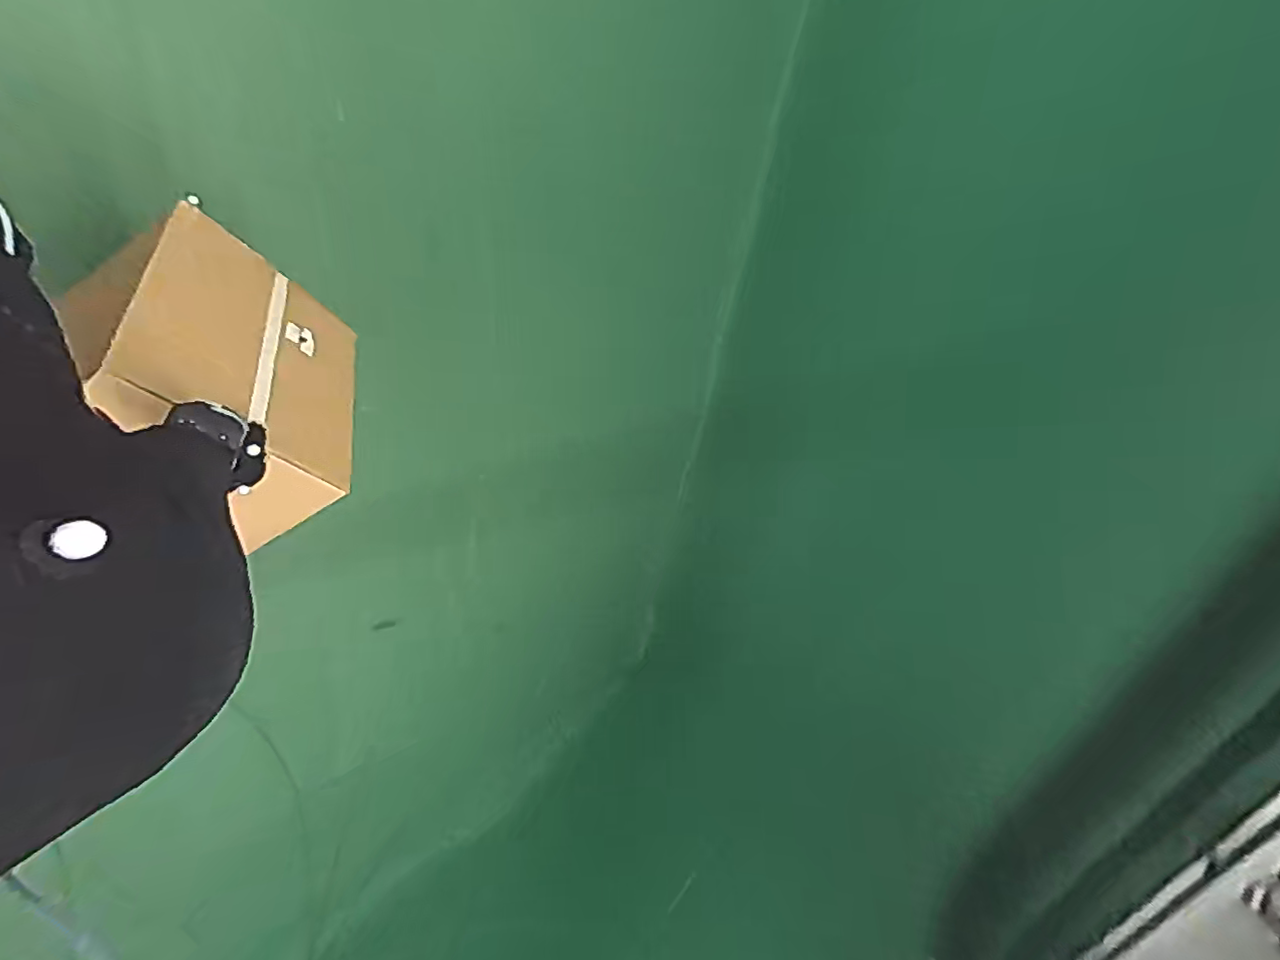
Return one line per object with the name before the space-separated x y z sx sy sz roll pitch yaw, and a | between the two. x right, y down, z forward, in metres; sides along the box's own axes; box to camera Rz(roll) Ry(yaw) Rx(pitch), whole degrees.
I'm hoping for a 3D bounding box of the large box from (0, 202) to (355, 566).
large box | -0.694 -0.135 0.859 0.320 0.408 0.320 -29 144 12
